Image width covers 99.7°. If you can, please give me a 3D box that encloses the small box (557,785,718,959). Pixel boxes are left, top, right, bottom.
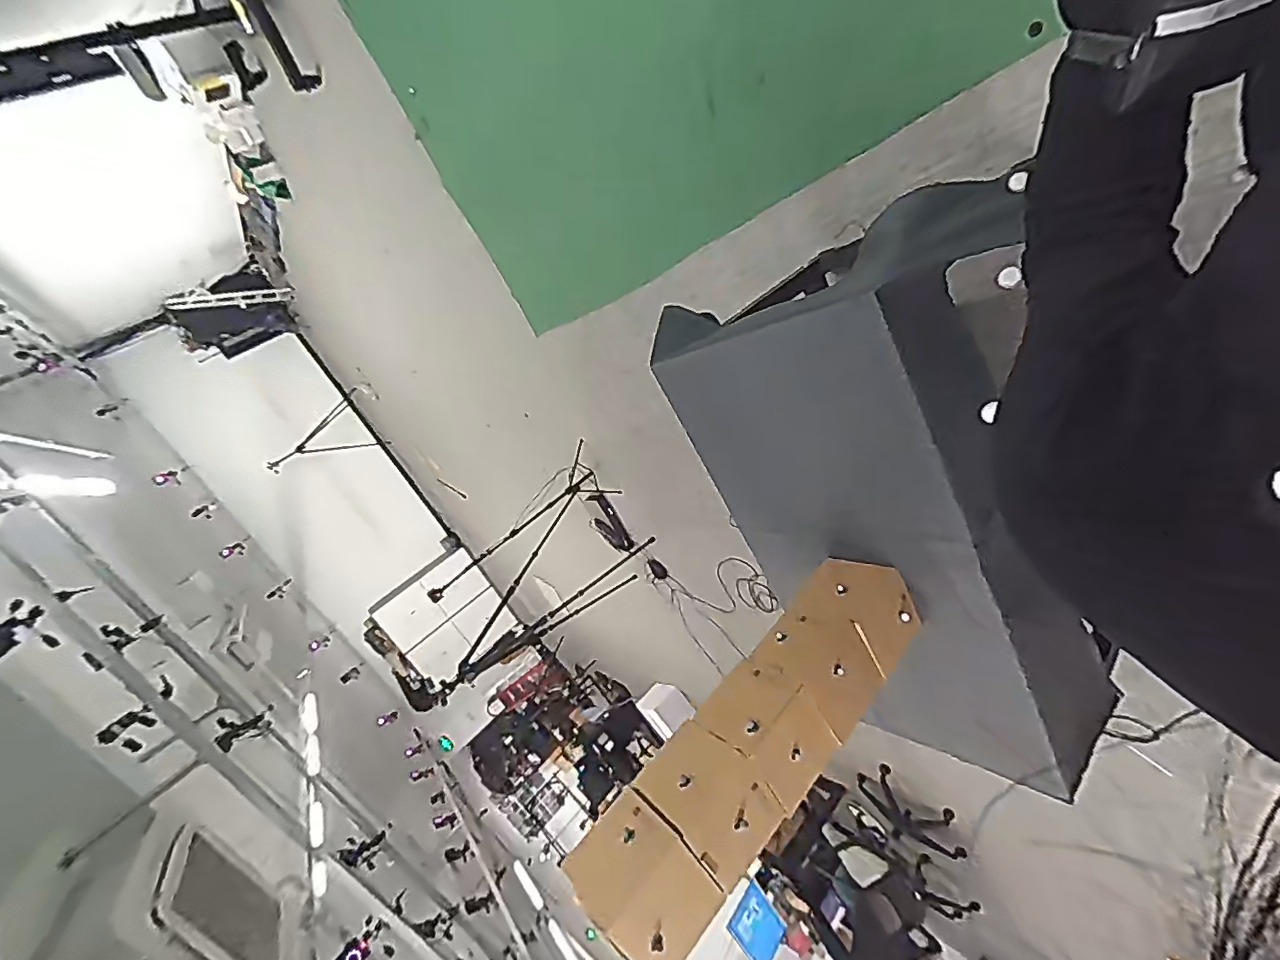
[{"bbox_3d":[-0.001,0.664,0.904,0.168,0.176,0.179,1,126,59],"label":"small box"}]

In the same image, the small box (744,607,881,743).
[{"bbox_3d":[0.353,0.385,1.103,0.168,0.176,0.179,-2,123,59],"label":"small box"}]

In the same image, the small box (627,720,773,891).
[{"bbox_3d":[0.115,0.572,0.978,0.179,0.176,0.168,-1,124,59],"label":"small box"}]

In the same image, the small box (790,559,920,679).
[{"bbox_3d":[0.466,0.289,1.171,0.179,0.176,0.168,0,125,57],"label":"small box"}]
